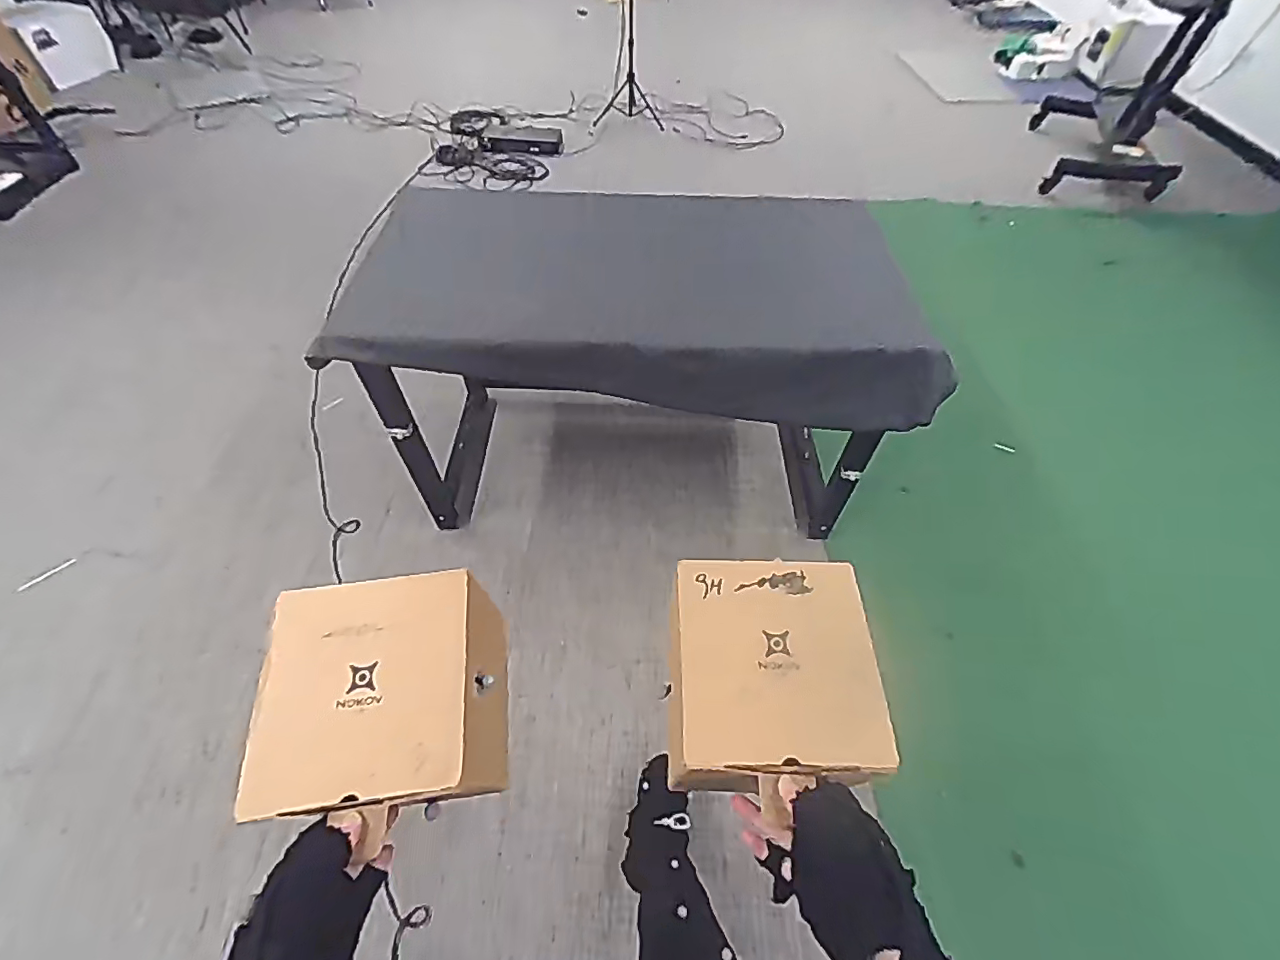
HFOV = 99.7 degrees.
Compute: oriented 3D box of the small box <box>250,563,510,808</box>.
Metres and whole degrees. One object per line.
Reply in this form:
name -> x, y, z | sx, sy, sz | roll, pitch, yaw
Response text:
small box -> -0.225, 0.199, 0.521 | 0.168, 0.176, 0.179 | -8, 61, -4
